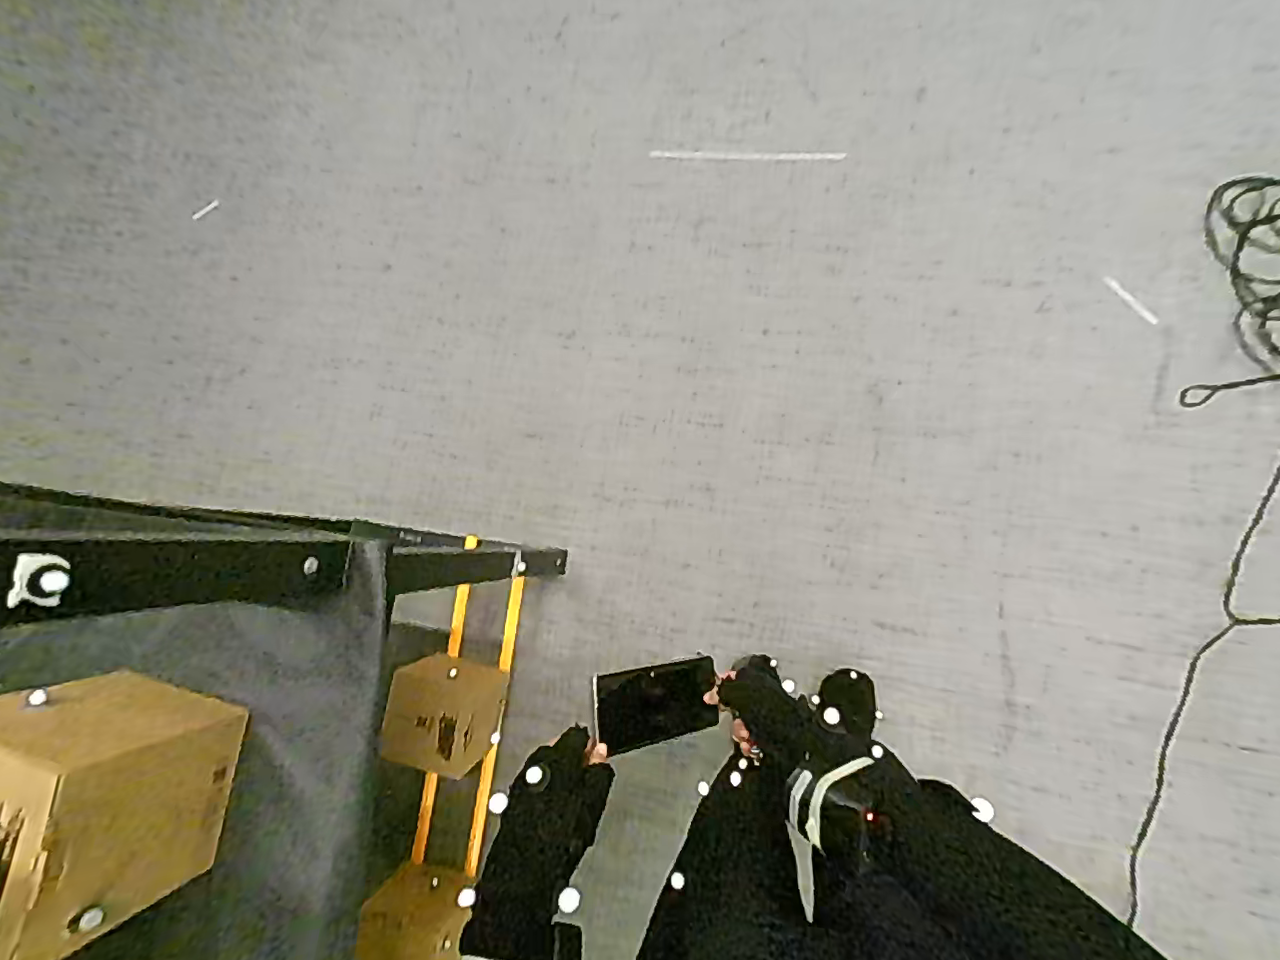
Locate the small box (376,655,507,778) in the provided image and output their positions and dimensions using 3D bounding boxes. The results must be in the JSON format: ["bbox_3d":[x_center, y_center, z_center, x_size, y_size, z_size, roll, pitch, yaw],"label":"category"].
[{"bbox_3d":[-0.392,0.468,1.099,0.179,0.176,0.168,11,84,10],"label":"small box"}]
